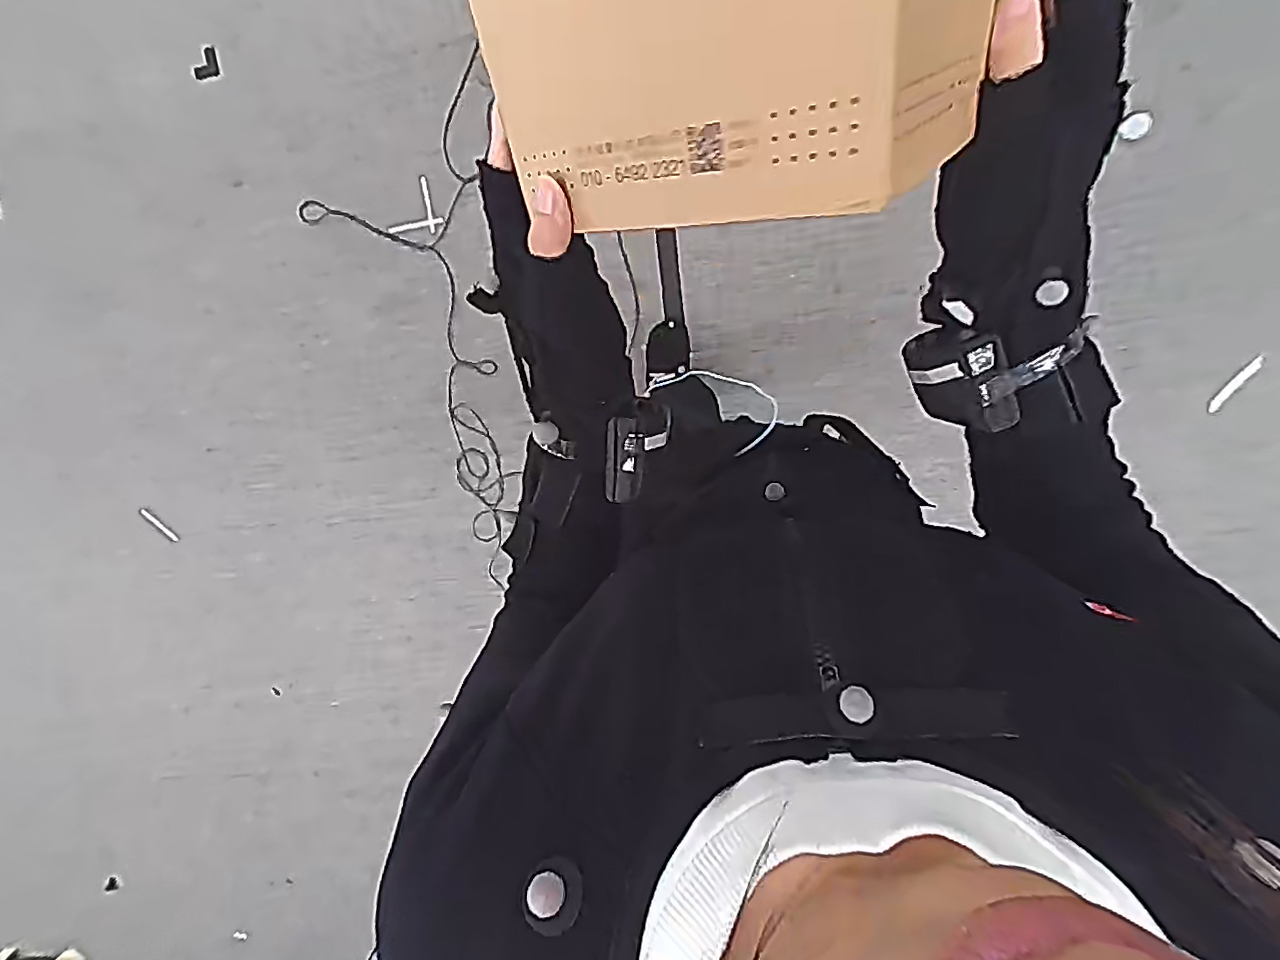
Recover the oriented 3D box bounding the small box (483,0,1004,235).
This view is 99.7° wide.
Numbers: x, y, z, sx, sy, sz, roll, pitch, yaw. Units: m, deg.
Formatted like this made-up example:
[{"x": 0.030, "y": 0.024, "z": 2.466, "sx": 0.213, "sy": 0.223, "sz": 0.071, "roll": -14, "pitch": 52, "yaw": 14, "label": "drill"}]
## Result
[{"x": 0.049, "y": -0.211, "z": 0.227, "sx": 0.168, "sy": 0.179, "sz": 0.176, "roll": 16, "pitch": 134, "yaw": 35, "label": "small box"}]
